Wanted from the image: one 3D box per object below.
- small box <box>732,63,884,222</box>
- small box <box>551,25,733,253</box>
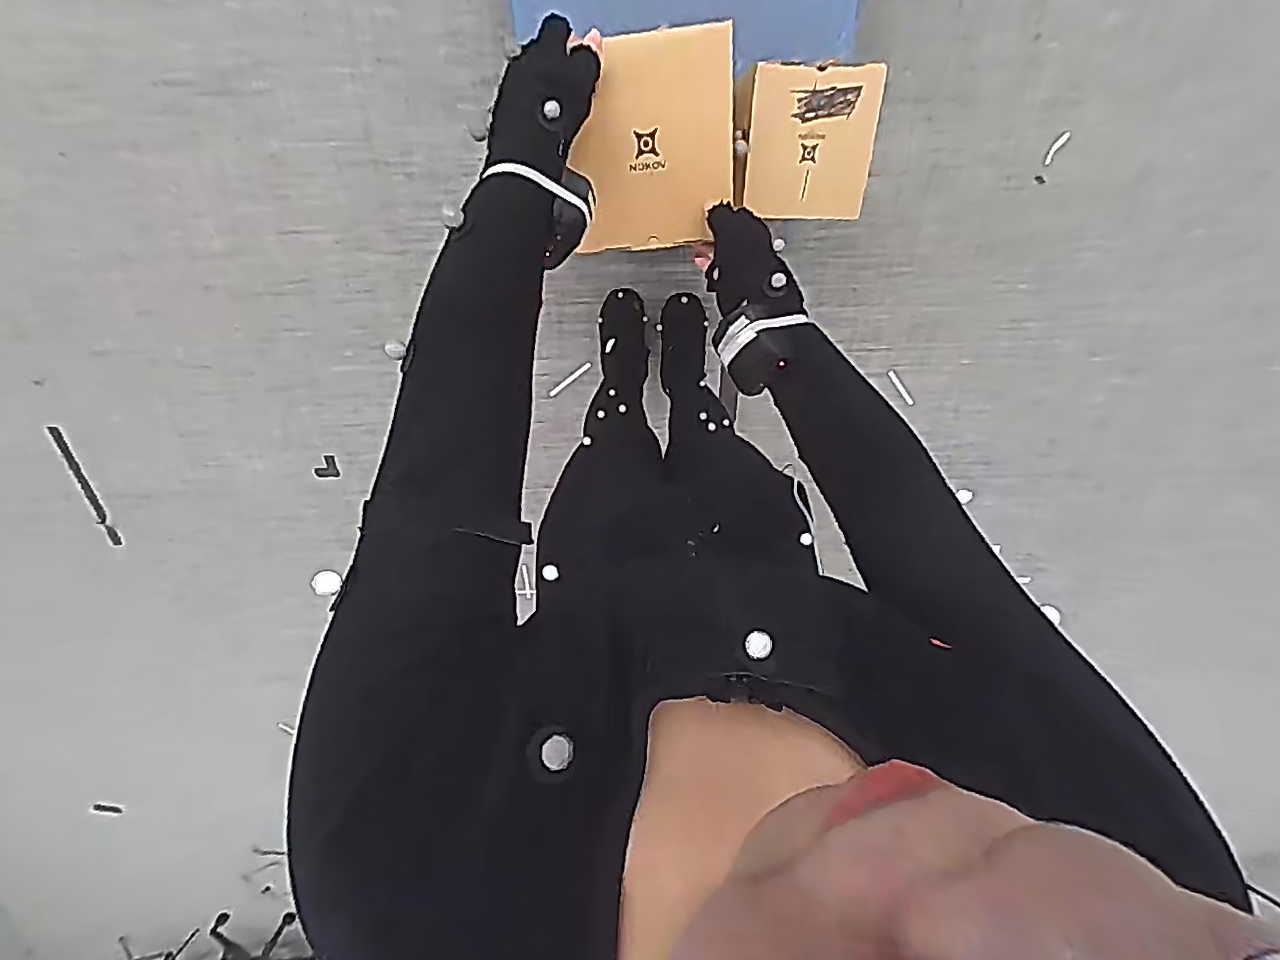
[{"bbox_3d":[0.220,-0.476,0.780,0.168,0.176,0.179,1,120,-1],"label":"small box"},{"bbox_3d":[0.010,-0.358,0.586,0.168,0.176,0.179,-3,122,5],"label":"small box"}]
